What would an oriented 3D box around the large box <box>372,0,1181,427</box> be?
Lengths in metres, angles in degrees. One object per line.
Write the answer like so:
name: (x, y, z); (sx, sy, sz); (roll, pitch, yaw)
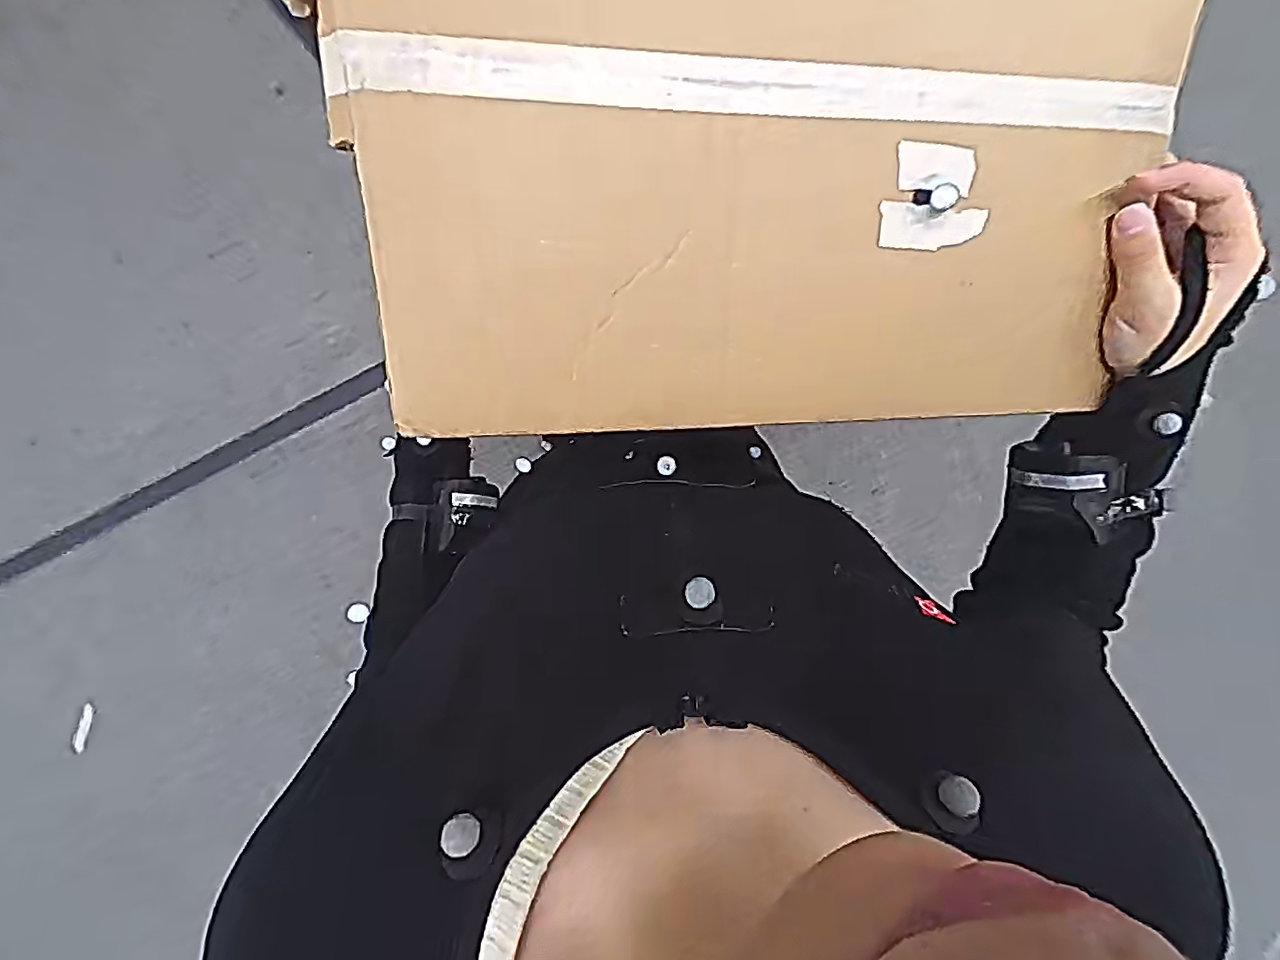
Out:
large box: (0.054, -0.226, 0.403); (0.408, 0.320, 0.320); (-3, 107, -11)
